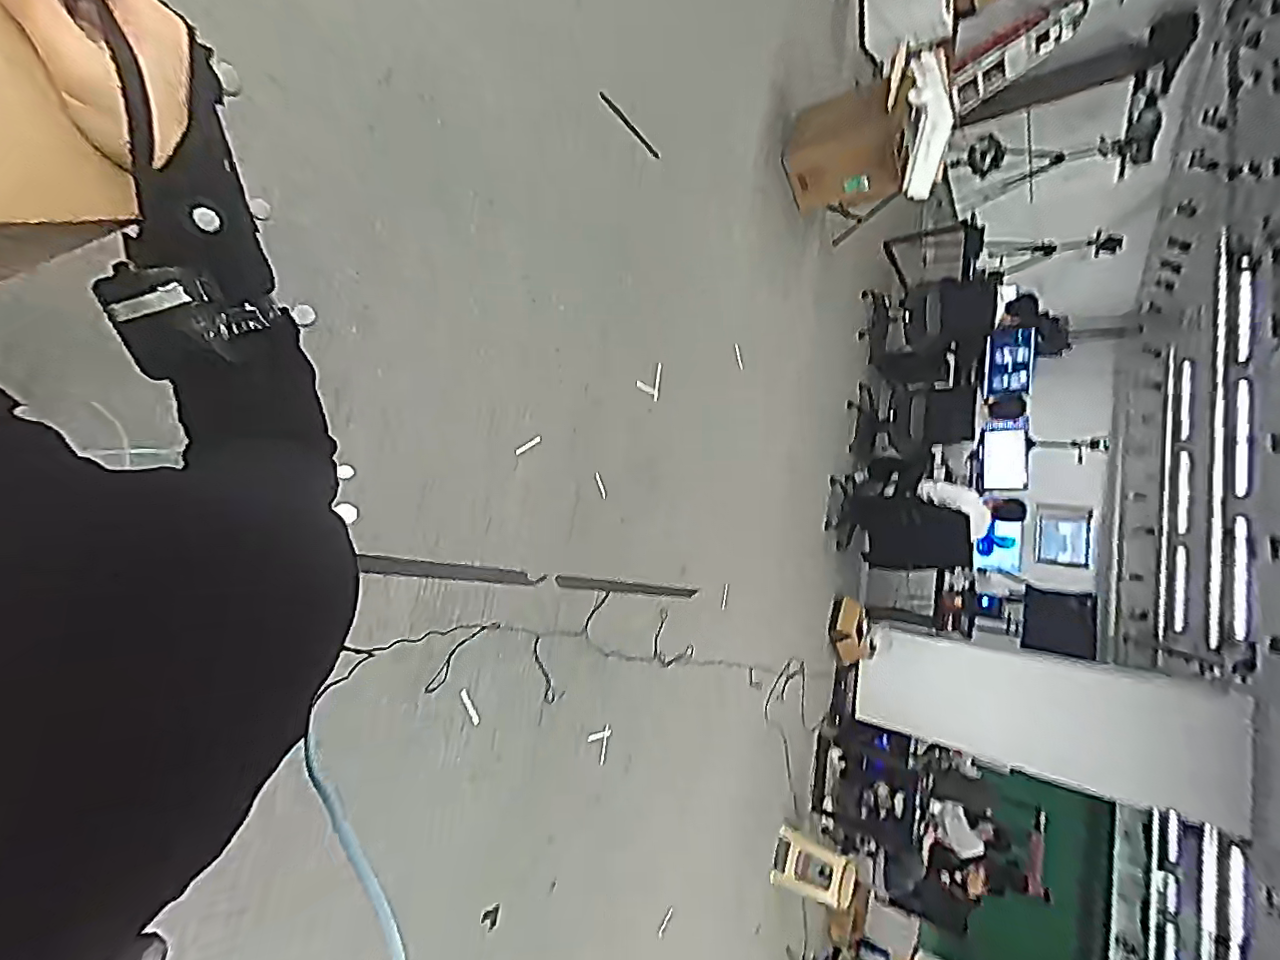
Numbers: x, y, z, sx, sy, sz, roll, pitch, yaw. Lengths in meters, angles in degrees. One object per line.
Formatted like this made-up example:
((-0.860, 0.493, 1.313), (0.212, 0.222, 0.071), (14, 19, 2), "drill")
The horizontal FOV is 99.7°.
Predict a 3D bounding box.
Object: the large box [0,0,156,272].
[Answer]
((-0.518, -0.221, 0.169), (0.408, 0.320, 0.320), (-39, 129, -51), "large box")
